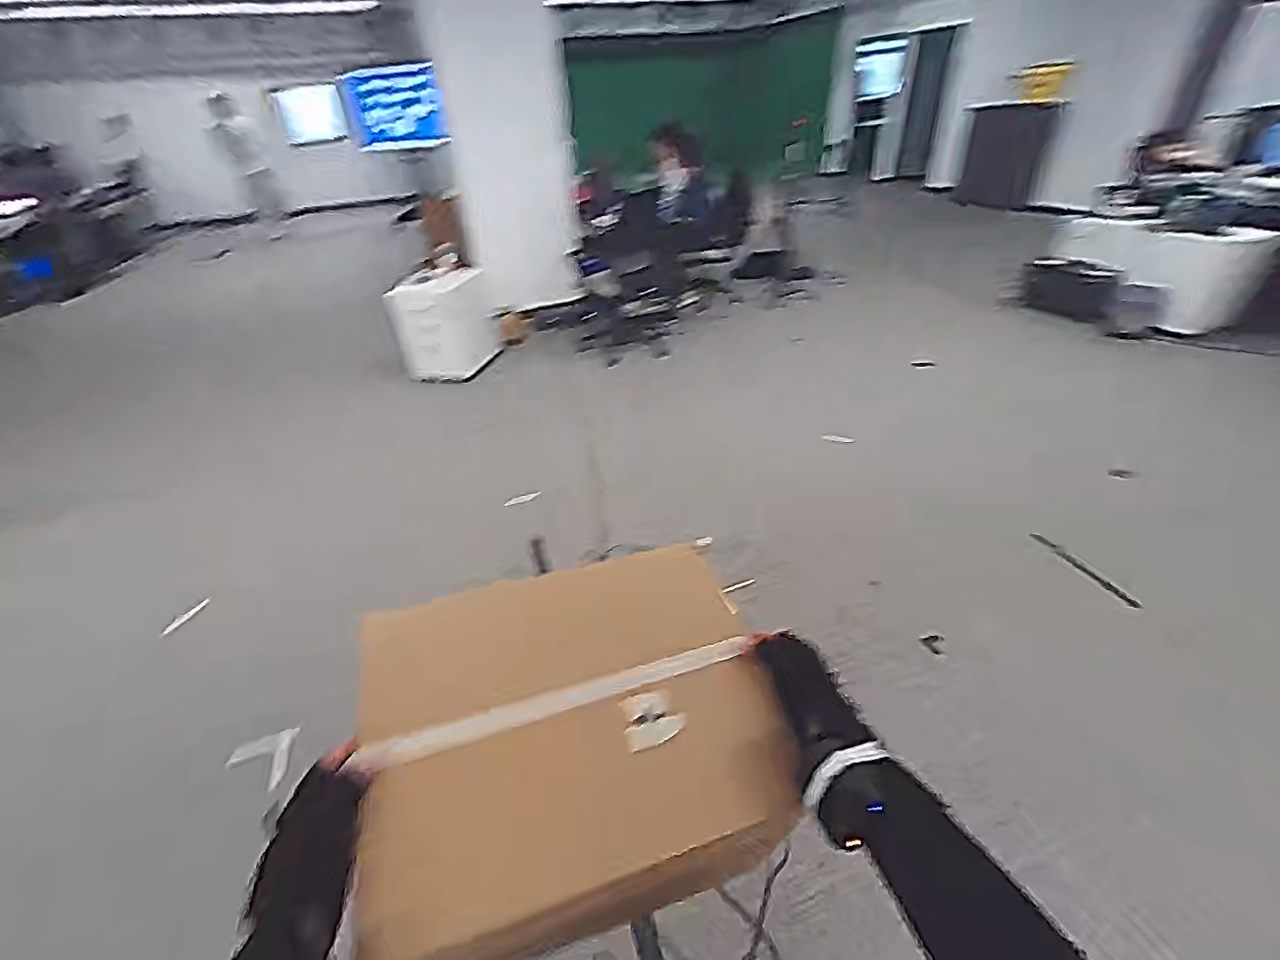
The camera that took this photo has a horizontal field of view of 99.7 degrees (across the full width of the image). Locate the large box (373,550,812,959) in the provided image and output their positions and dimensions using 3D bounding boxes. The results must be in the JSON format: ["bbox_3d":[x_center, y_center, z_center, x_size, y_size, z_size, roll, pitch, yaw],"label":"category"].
[{"bbox_3d":[-0.075,0.339,0.668,0.408,0.320,0.320,-11,47,-16],"label":"large box"}]
